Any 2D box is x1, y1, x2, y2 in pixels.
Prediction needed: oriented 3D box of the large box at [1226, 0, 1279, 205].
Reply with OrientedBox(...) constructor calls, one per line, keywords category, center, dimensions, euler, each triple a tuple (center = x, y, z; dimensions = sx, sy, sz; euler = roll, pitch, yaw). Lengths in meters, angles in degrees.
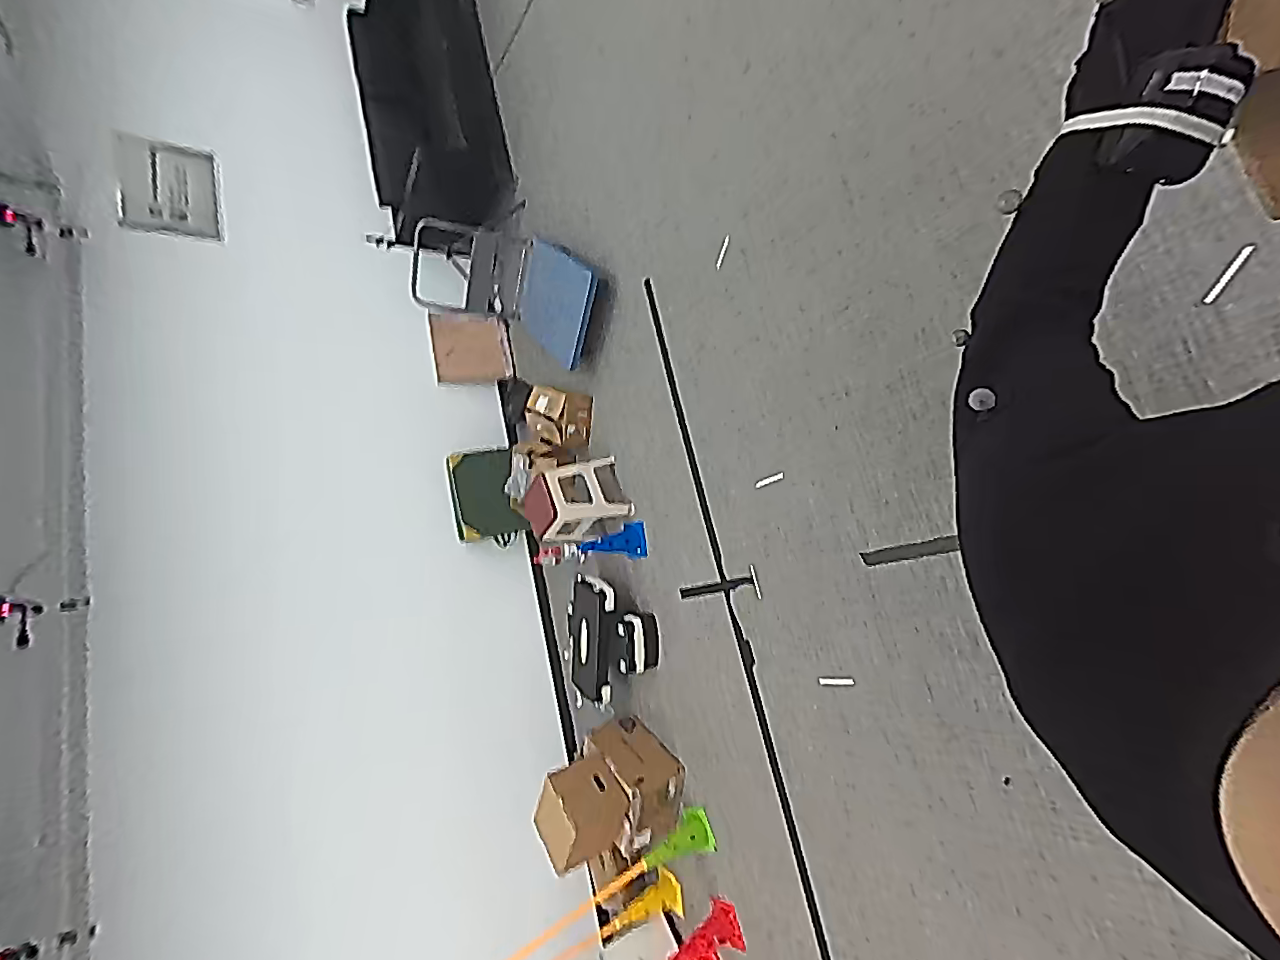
OrientedBox(category="large box", center=(0.621, -0.381, 0.260), dimensions=(0.408, 0.320, 0.320), euler=(16, 103, 53))
